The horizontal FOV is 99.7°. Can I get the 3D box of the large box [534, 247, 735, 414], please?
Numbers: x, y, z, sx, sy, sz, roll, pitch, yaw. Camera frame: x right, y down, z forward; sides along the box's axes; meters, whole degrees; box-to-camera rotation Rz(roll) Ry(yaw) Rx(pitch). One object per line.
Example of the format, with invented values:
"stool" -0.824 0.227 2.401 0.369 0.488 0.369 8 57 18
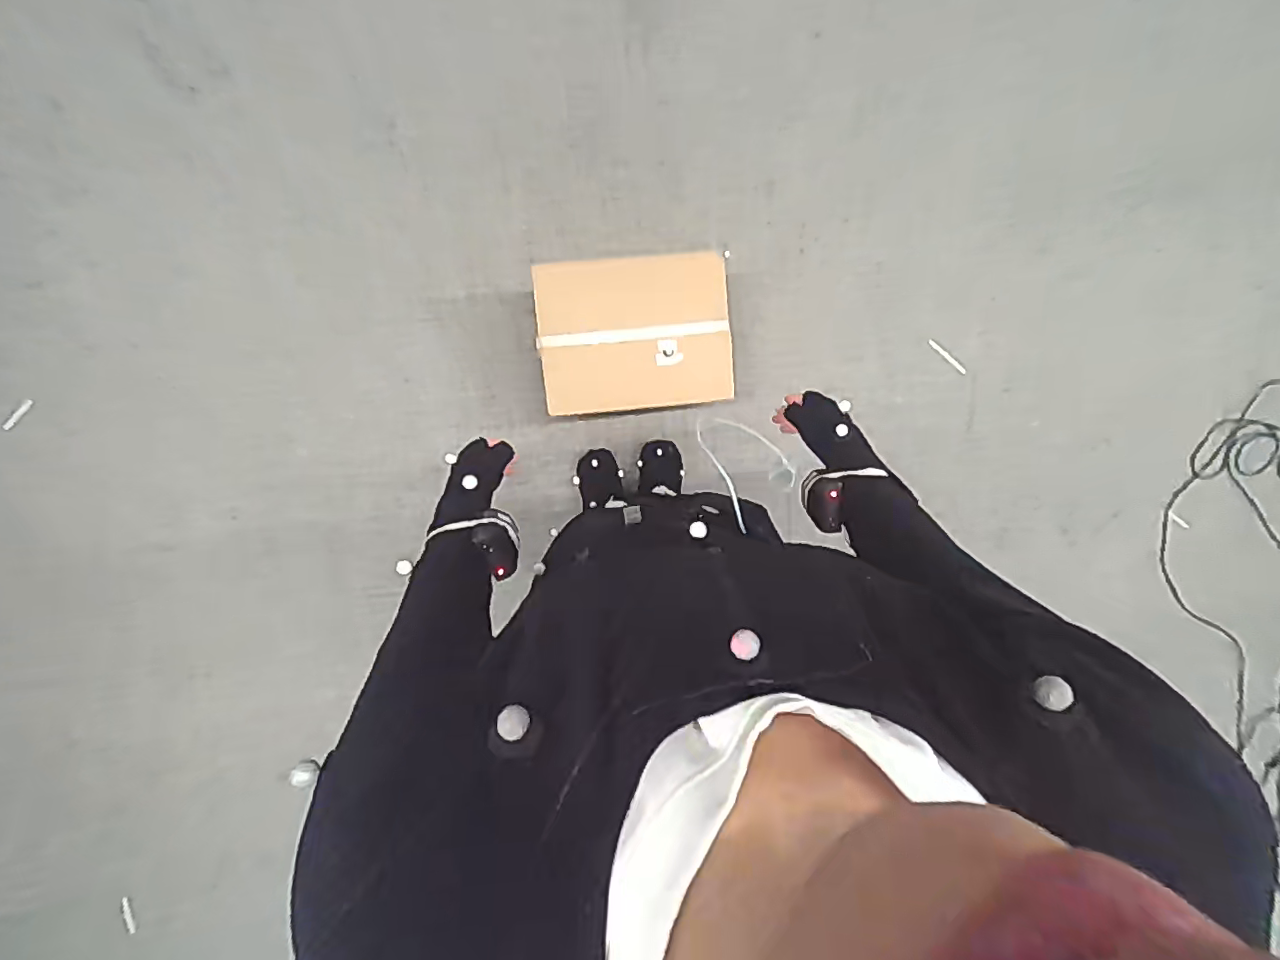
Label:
"large box" -0.017 -0.331 1.284 0.408 0.320 0.320 -6 98 -3
